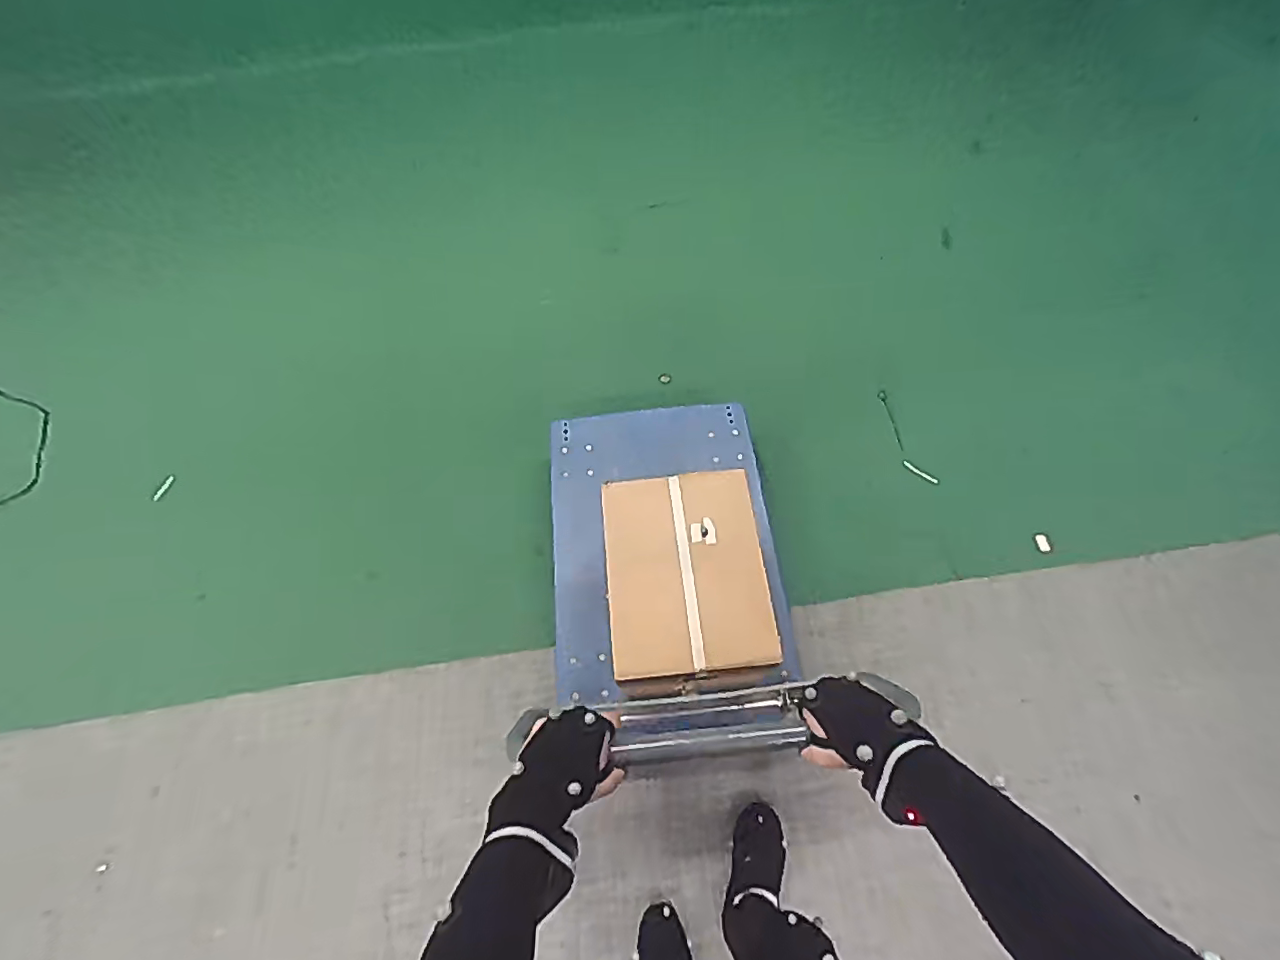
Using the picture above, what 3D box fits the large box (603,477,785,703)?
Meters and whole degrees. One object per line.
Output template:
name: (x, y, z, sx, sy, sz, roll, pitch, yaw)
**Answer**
large box: (0.101, 0.254, 1.208, 0.320, 0.320, 0.408, -6, 62, -1)
